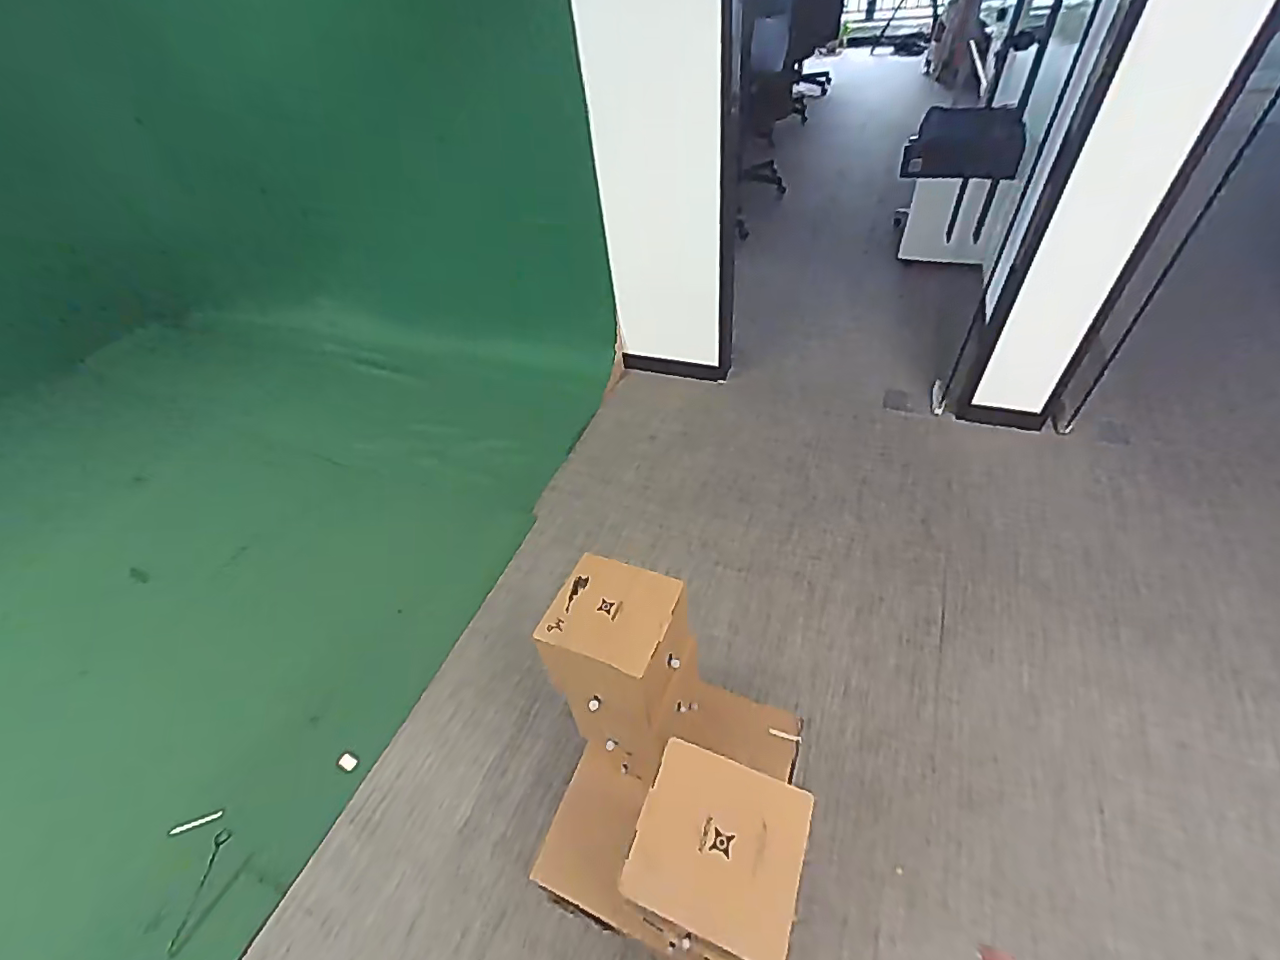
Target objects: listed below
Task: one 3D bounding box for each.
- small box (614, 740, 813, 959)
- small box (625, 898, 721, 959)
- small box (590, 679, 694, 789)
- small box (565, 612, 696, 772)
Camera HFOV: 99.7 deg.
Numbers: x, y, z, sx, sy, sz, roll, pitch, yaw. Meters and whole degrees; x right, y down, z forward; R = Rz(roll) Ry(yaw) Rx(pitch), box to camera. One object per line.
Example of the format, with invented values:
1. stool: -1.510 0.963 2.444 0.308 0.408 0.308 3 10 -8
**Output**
1. small box: 0.088 0.444 0.637 0.179 0.176 0.168 15 50 18
2. small box: 0.093 0.556 0.756 0.168 0.176 0.179 18 51 20
3. small box: 0.003 0.480 1.077 0.168 0.176 0.179 13 46 20
4. small box: -0.009 0.372 0.952 0.168 0.176 0.179 15 47 21
